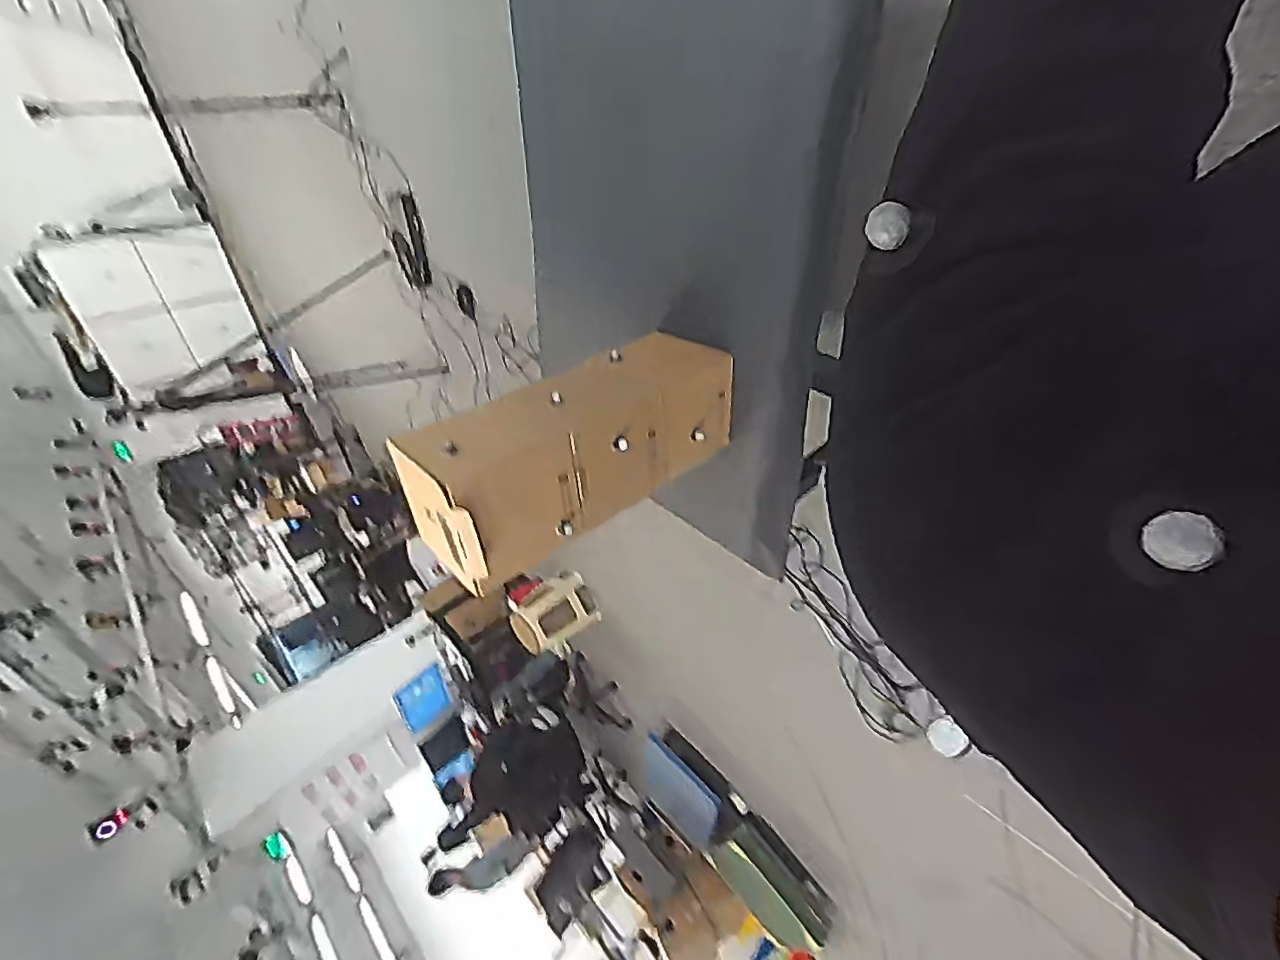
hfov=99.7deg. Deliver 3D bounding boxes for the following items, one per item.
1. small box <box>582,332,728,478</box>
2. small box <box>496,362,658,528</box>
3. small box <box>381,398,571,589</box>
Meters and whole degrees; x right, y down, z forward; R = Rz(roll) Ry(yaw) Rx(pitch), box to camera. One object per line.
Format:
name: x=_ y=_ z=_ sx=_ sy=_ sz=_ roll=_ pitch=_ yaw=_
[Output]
small box: x=0.029 y=-0.134 z=0.898 sx=0.179 sy=0.176 sz=0.168 roll=29 pitch=136 yaw=38
small box: x=-0.085 y=-0.063 z=0.808 sx=0.179 sy=0.176 sz=0.168 roll=29 pitch=135 yaw=39
small box: x=-0.205 y=0.005 z=0.717 sx=0.179 sy=0.176 sz=0.168 roll=27 pitch=134 yaw=40
